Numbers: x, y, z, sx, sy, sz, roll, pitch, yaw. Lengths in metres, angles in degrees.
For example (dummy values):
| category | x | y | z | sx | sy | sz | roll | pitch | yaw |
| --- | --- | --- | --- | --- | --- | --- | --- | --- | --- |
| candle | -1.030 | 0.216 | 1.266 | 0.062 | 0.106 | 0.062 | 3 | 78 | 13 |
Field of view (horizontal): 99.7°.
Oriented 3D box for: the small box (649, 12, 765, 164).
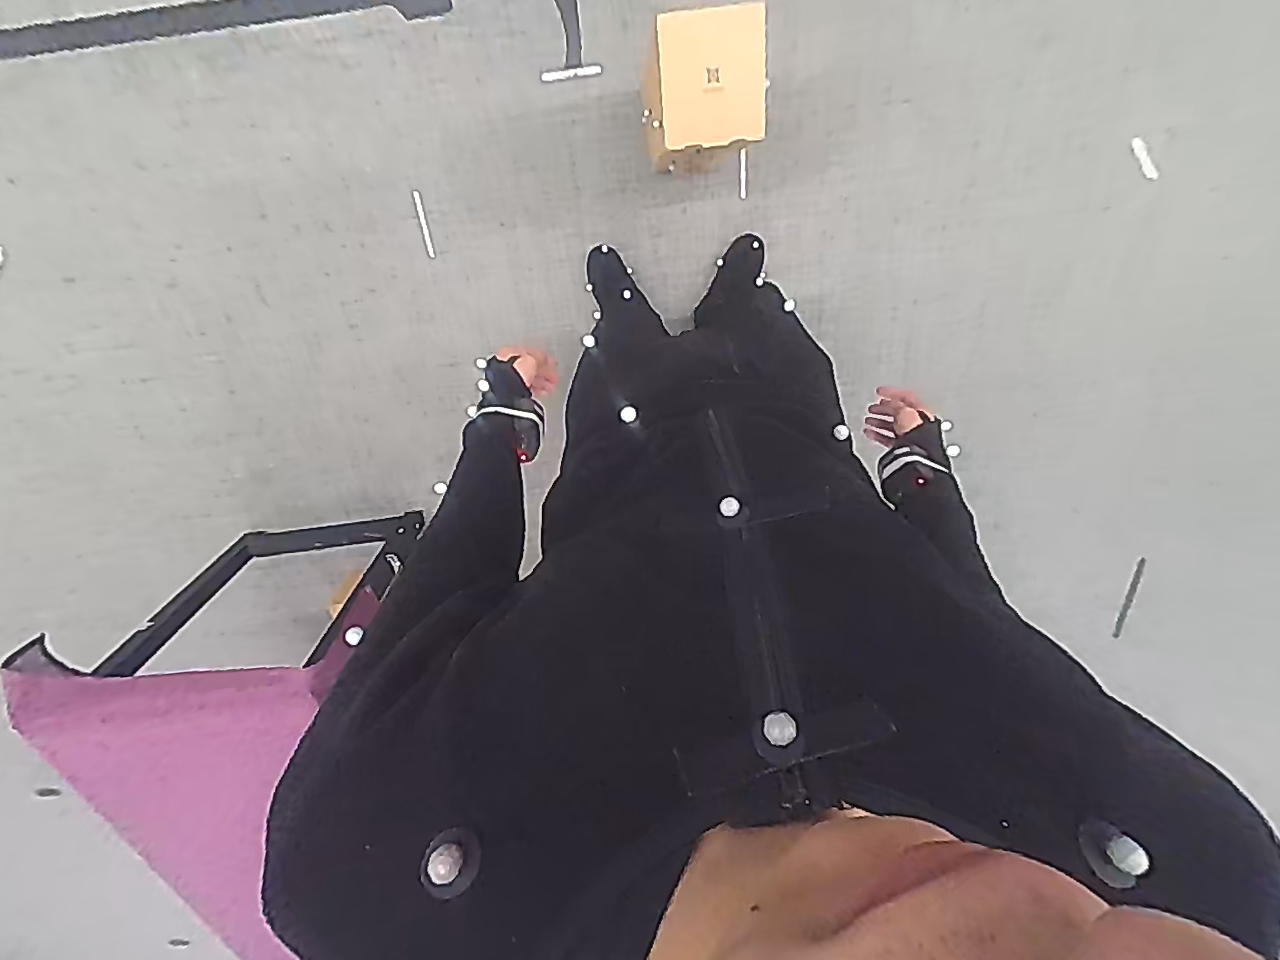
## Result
| category | x | y | z | sx | sy | sz | roll | pitch | yaw |
| --- | --- | --- | --- | --- | --- | --- | --- | --- | --- |
| small box | 0.108 | -0.649 | 0.915 | 0.168 | 0.176 | 0.179 | -7 | 118 | 0 |

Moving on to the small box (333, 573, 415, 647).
| category | x | y | z | sx | sy | sz | roll | pitch | yaw |
| --- | --- | --- | --- | --- | --- | --- | --- | --- | --- |
| small box | -0.873 | 0.424 | 1.793 | 0.168 | 0.176 | 0.179 | -6 | 118 | 1 |

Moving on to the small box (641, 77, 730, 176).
| category | x | y | z | sx | sy | sz | roll | pitch | yaw |
| --- | --- | --- | --- | --- | --- | --- | --- | --- | --- |
| small box | 0.099 | -0.794 | 1.209 | 0.168 | 0.176 | 0.179 | -10 | 118 | 2 |
